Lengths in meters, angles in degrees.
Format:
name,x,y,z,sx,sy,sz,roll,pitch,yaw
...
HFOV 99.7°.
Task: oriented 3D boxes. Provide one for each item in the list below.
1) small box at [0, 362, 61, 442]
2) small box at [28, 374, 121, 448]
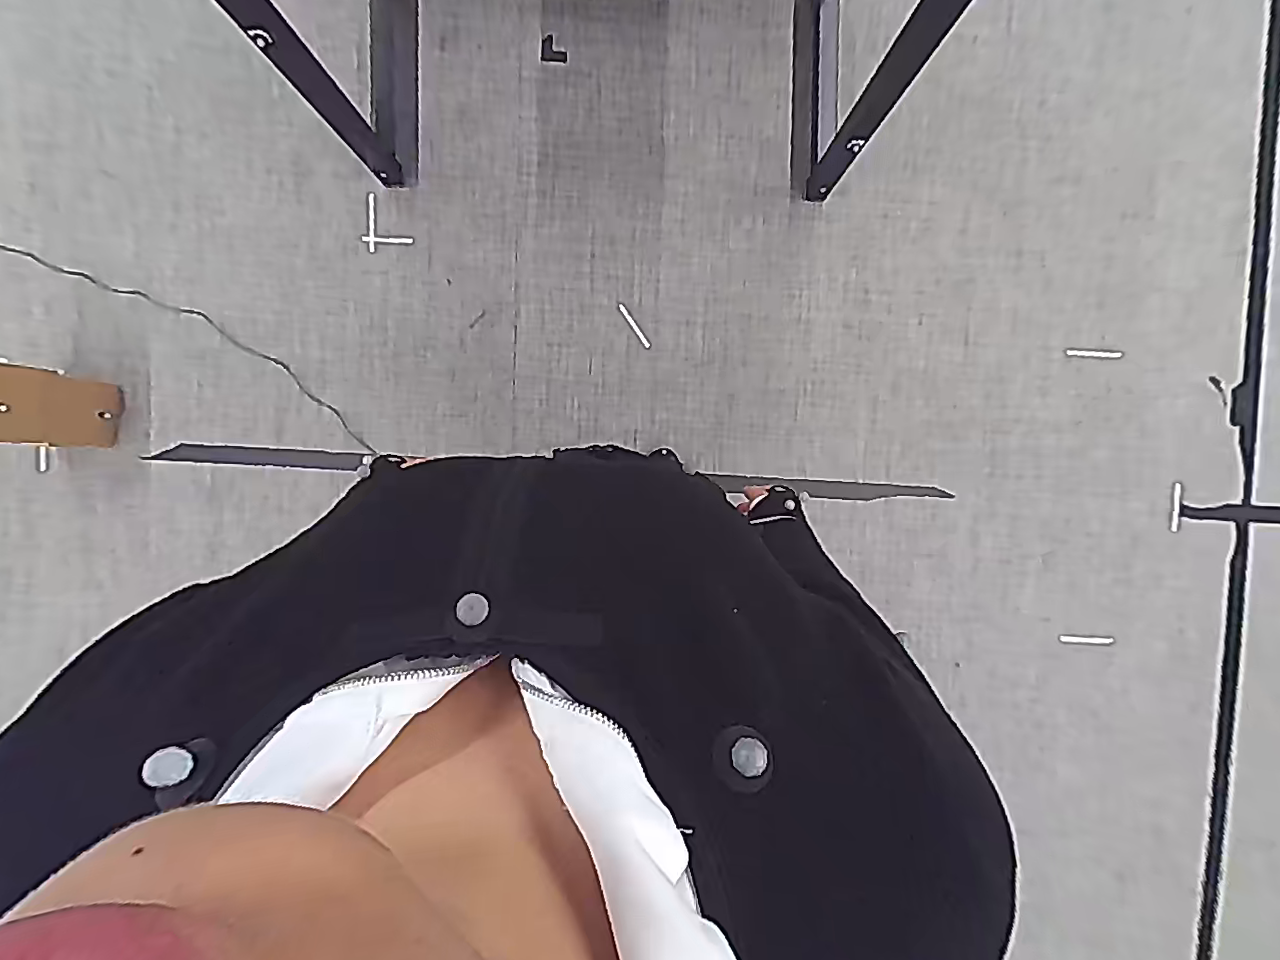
name,x,y,z,sx,sy,sz,roll,pitch,yaw
small box,-1.471,-0.178,1.217,0.168,0.176,0.179,3,92,-2
small box,-1.490,-0.181,1.382,0.168,0.176,0.179,9,92,-2
